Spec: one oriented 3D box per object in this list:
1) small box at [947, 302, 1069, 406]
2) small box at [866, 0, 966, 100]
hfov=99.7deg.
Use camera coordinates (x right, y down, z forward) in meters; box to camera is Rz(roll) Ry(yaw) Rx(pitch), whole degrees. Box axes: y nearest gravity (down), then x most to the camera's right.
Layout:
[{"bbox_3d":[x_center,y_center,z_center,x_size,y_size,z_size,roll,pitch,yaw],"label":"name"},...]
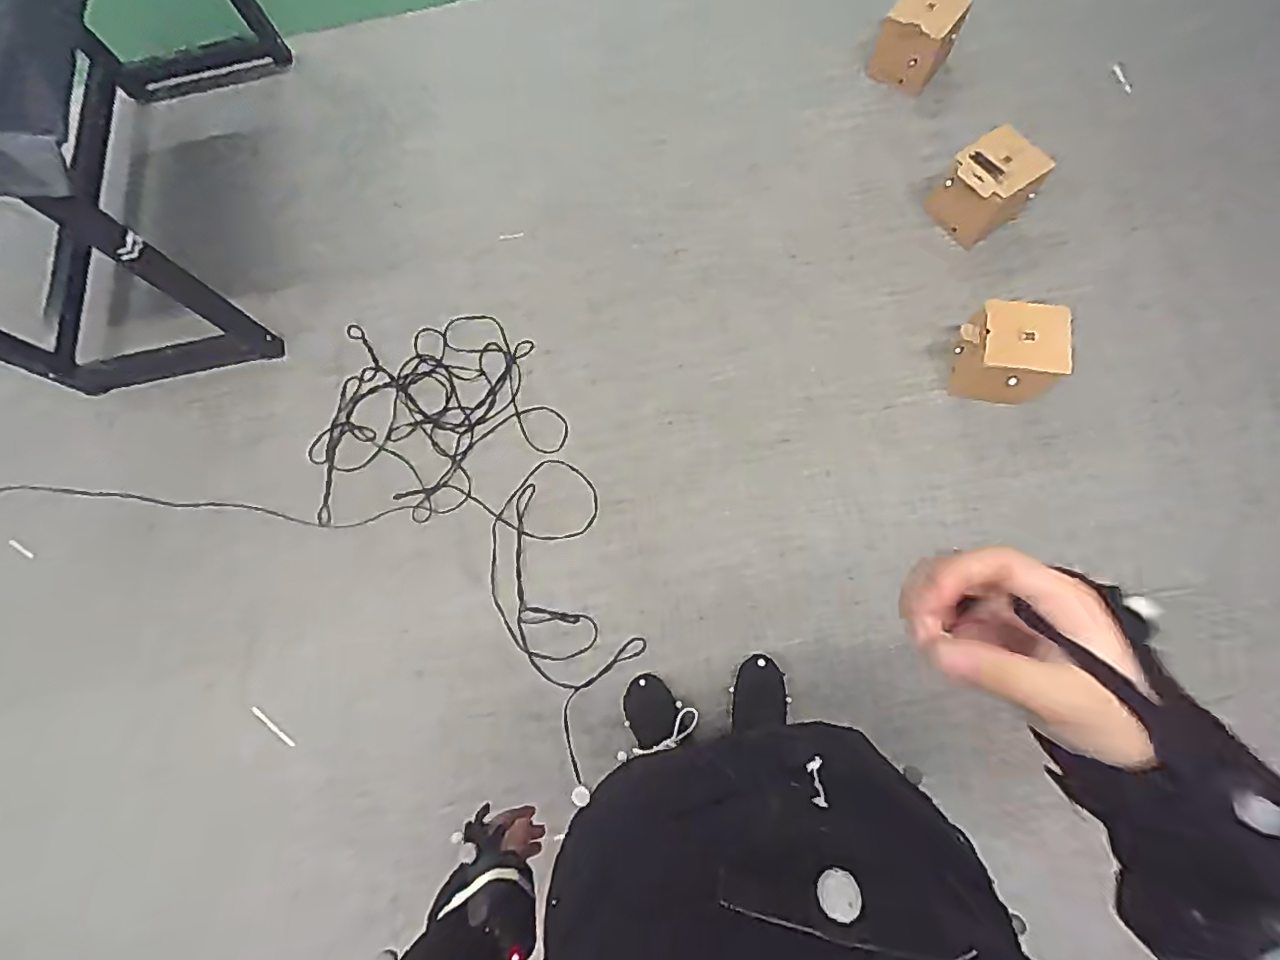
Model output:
[{"bbox_3d":[0.841,-0.283,1.247,0.179,0.176,0.168,8,75,8],"label":"small box"},{"bbox_3d":[0.768,-1.228,1.529,0.168,0.176,0.179,35,79,13],"label":"small box"}]
